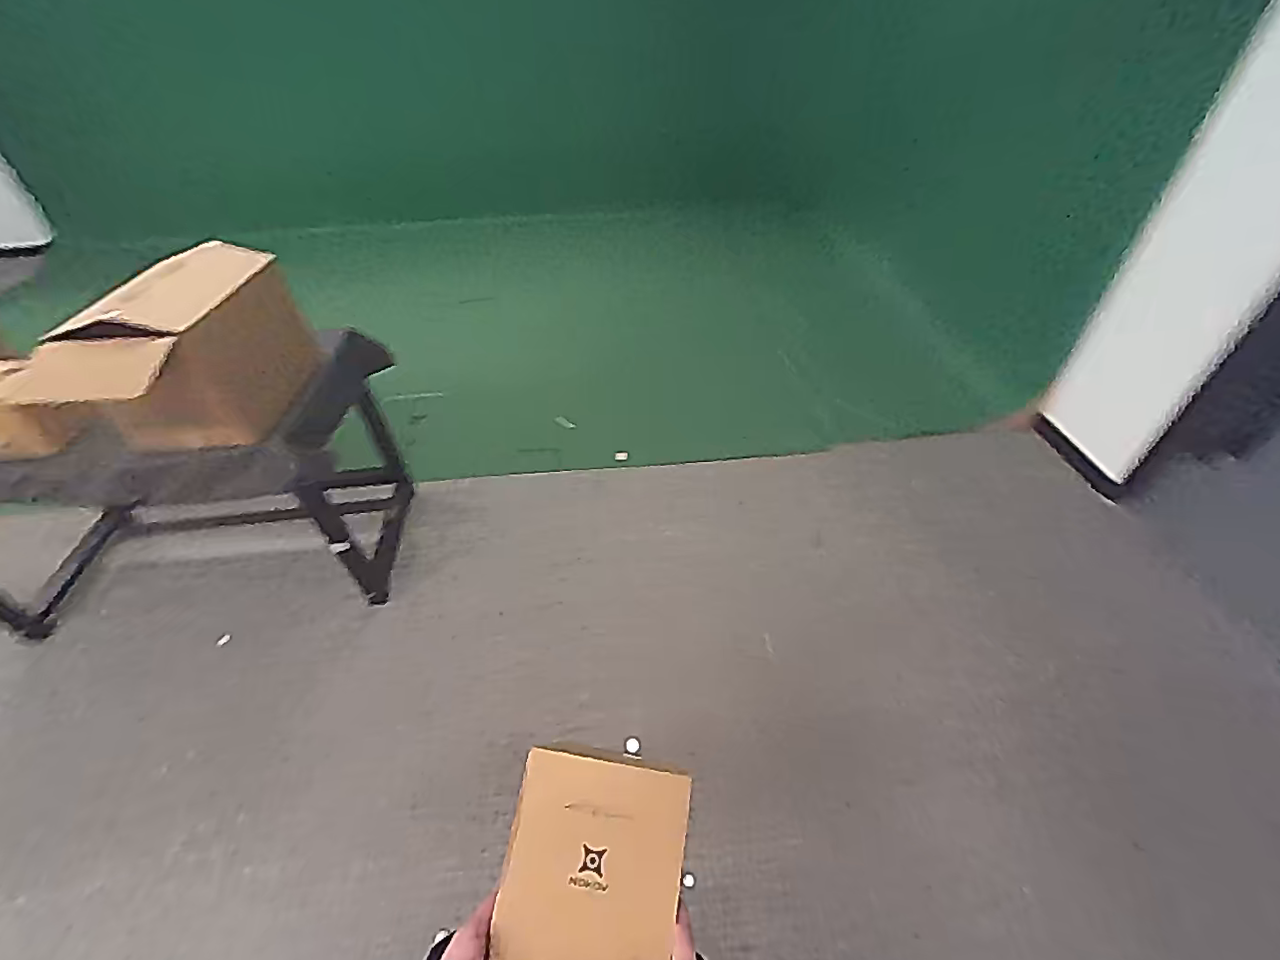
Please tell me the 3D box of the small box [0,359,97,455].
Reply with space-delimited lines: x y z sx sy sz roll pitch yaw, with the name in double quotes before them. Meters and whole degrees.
"small box" -1.521 -0.180 1.338 0.168 0.176 0.179 -3 45 1
